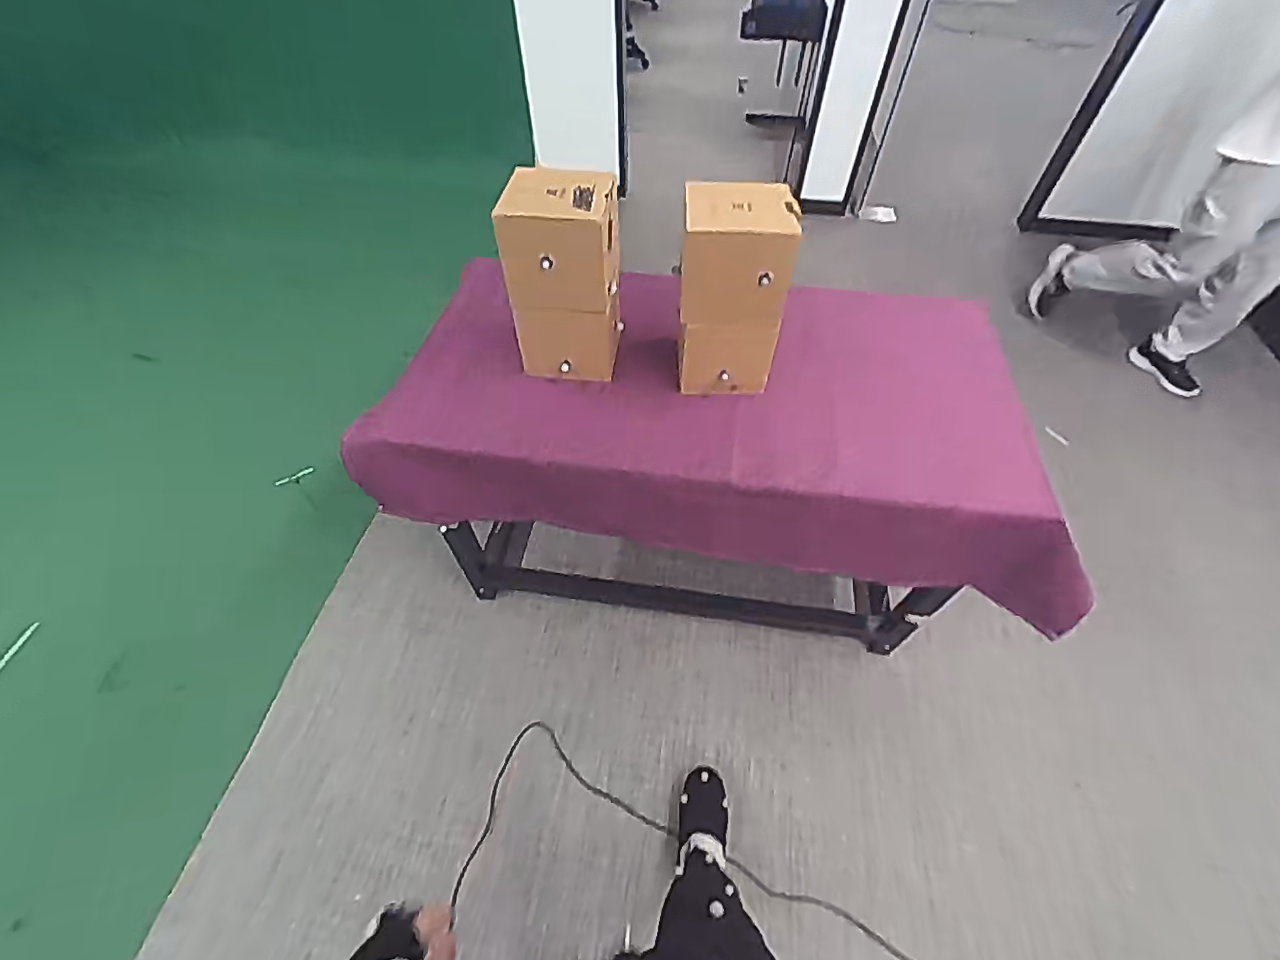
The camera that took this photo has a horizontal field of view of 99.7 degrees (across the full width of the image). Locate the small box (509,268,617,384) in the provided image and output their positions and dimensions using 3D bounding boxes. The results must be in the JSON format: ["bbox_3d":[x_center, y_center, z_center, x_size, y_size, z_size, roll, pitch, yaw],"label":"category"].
[{"bbox_3d":[-0.141,-0.309,1.073,0.179,0.176,0.168,5,53,3],"label":"small box"}]

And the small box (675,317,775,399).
[{"bbox_3d":[0.156,-0.281,1.054,0.168,0.176,0.179,1,54,1],"label":"small box"}]

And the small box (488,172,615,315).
[{"bbox_3d":[-0.140,-0.407,0.941,0.179,0.176,0.168,5,54,4],"label":"small box"}]

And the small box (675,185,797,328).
[{"bbox_3d":[0.153,-0.376,0.921,0.179,0.176,0.168,2,52,2],"label":"small box"}]
